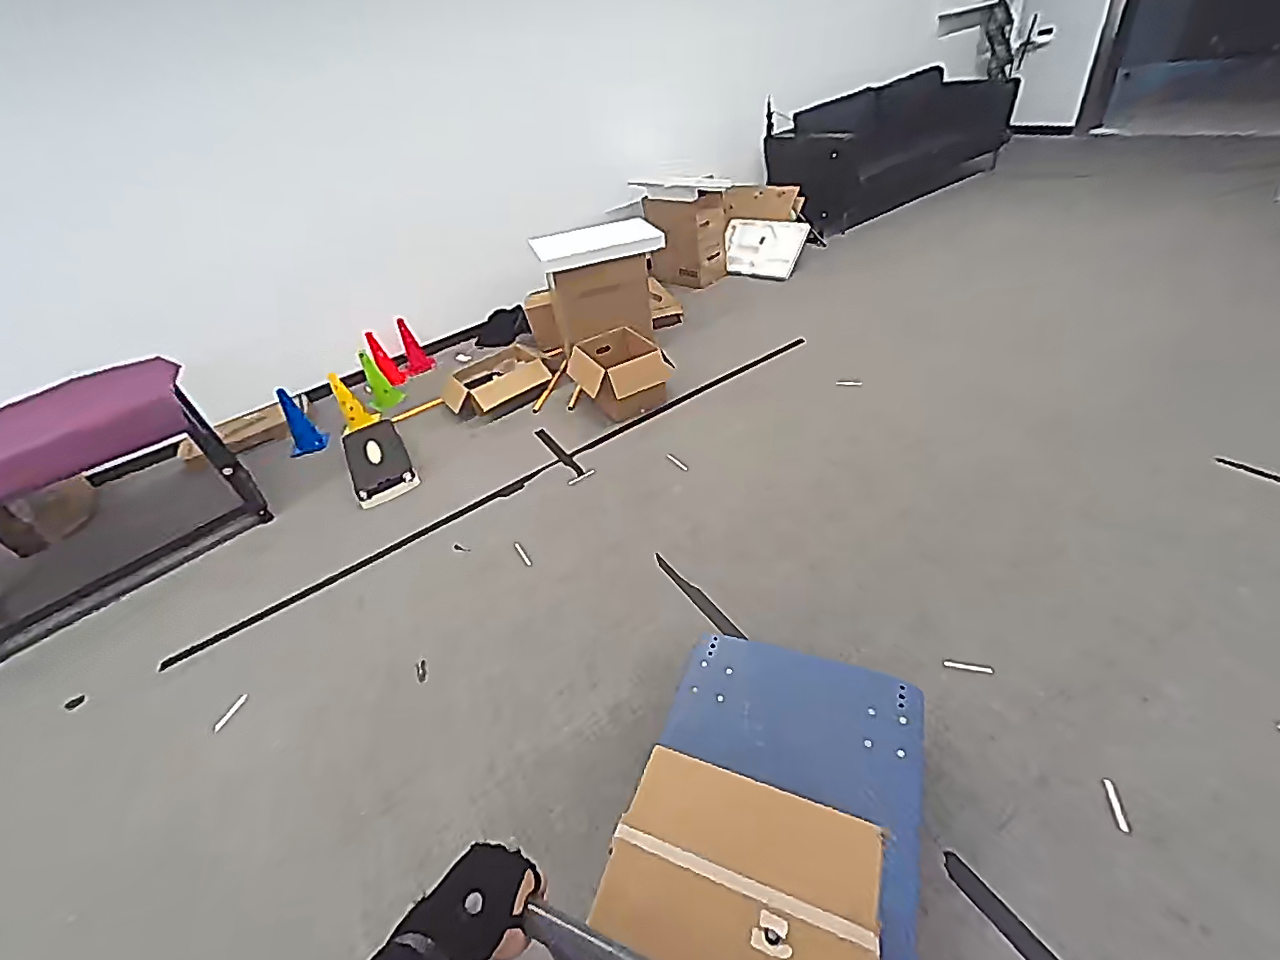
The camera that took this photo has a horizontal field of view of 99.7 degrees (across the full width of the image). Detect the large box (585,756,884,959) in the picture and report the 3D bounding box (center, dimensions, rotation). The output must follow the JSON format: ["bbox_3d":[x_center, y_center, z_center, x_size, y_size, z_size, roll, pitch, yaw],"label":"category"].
[{"bbox_3d":[0.170,0.751,0.928,0.408,0.320,0.320,9,43,23],"label":"large box"}]
